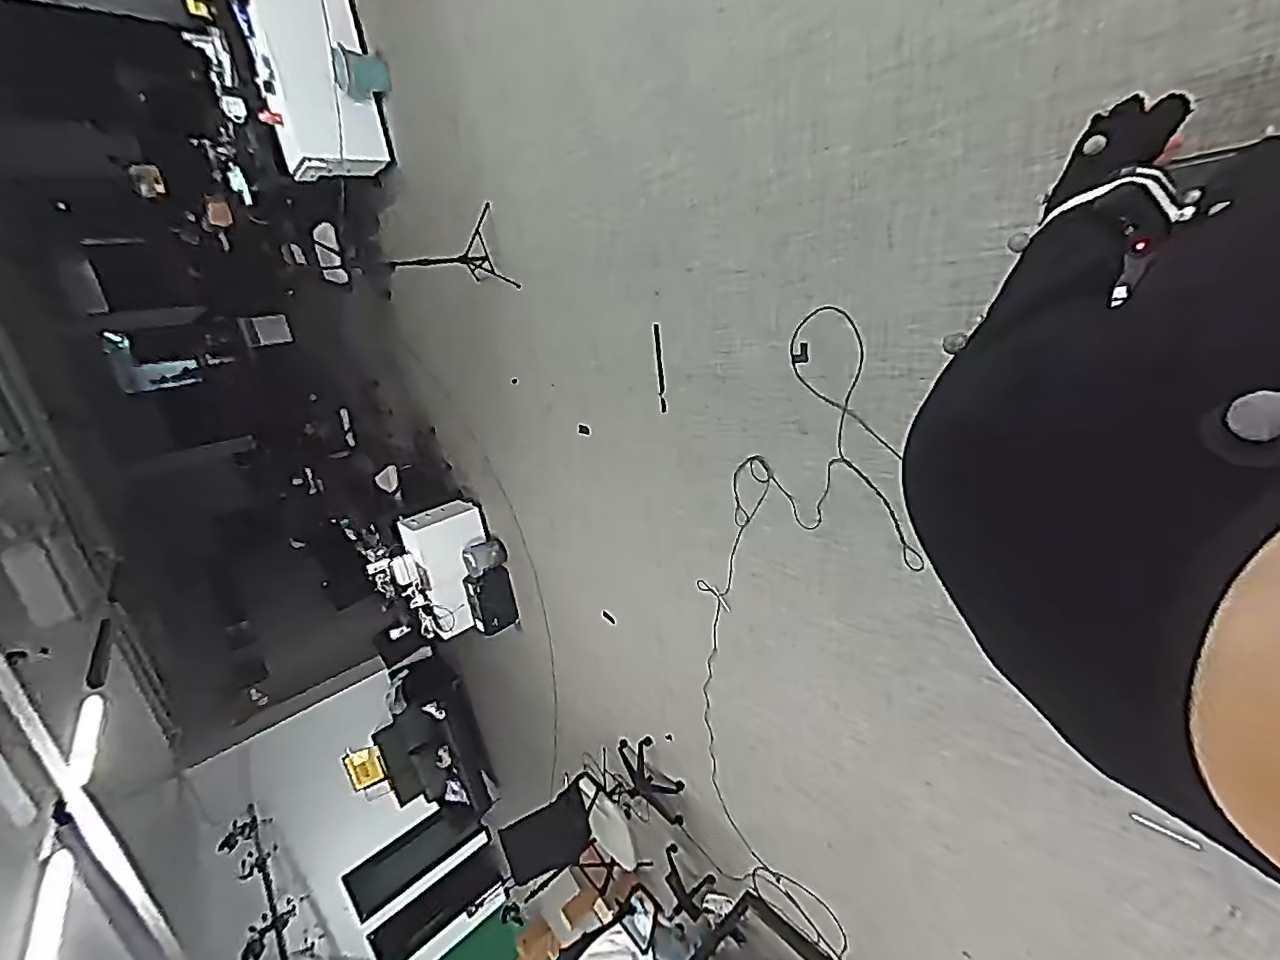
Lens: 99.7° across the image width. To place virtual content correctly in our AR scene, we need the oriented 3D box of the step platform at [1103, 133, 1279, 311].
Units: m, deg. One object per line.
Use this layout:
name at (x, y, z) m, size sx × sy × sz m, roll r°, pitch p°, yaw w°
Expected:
step platform at (1.225, -0.461, 0.906) m, size 0.684 × 0.204 × 0.286 m, roll 11°, pitch 117°, yaw 47°
